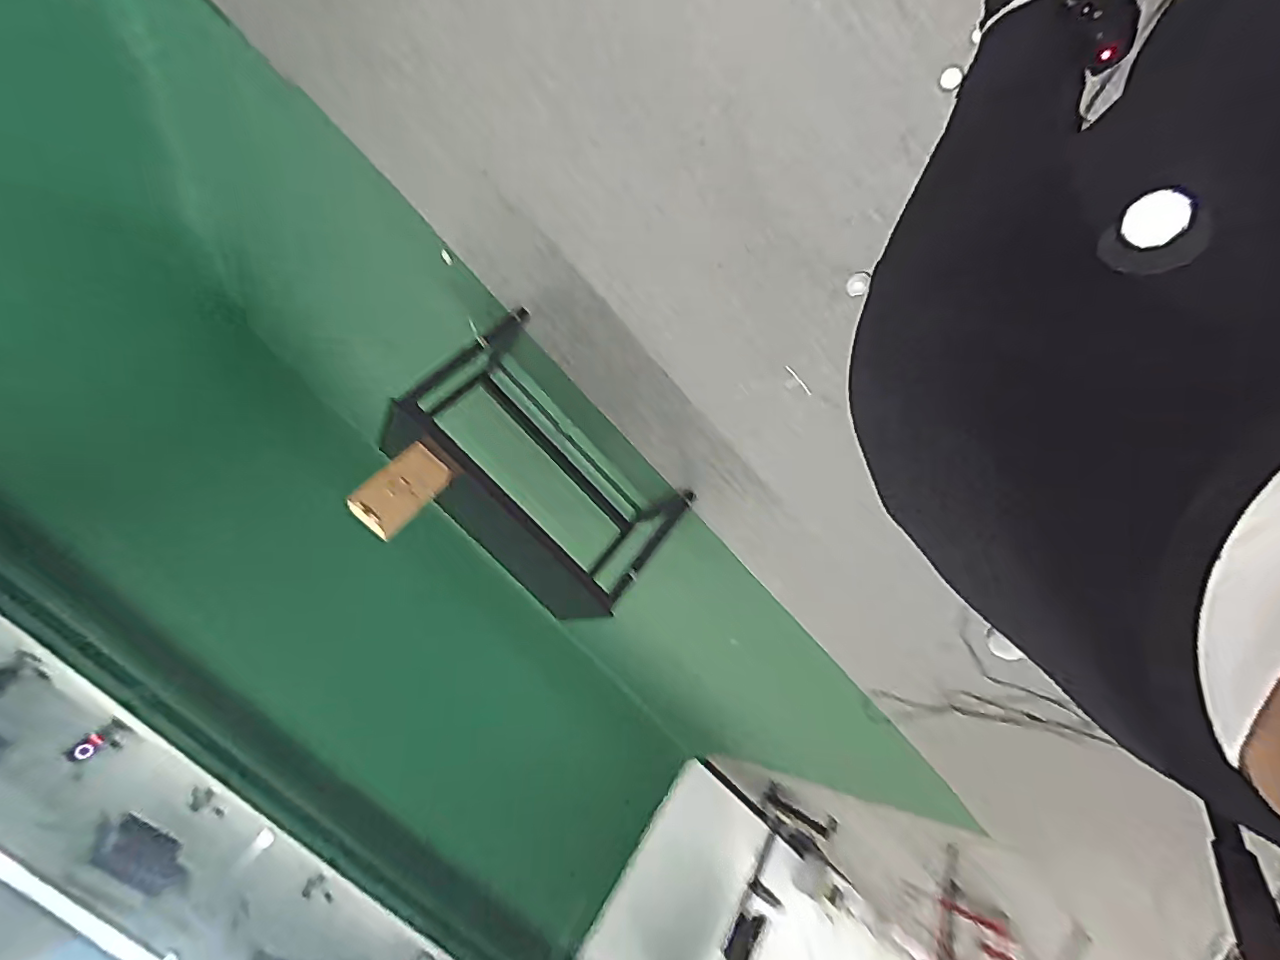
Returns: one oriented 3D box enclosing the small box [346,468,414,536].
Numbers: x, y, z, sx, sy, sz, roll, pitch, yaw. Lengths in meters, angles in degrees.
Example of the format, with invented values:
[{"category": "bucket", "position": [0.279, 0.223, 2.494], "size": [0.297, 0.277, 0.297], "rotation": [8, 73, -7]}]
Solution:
[{"category": "small box", "position": [-0.987, 0.082, 2.061], "size": [0.168, 0.176, 0.179], "rotation": [42, 150, -5]}]
